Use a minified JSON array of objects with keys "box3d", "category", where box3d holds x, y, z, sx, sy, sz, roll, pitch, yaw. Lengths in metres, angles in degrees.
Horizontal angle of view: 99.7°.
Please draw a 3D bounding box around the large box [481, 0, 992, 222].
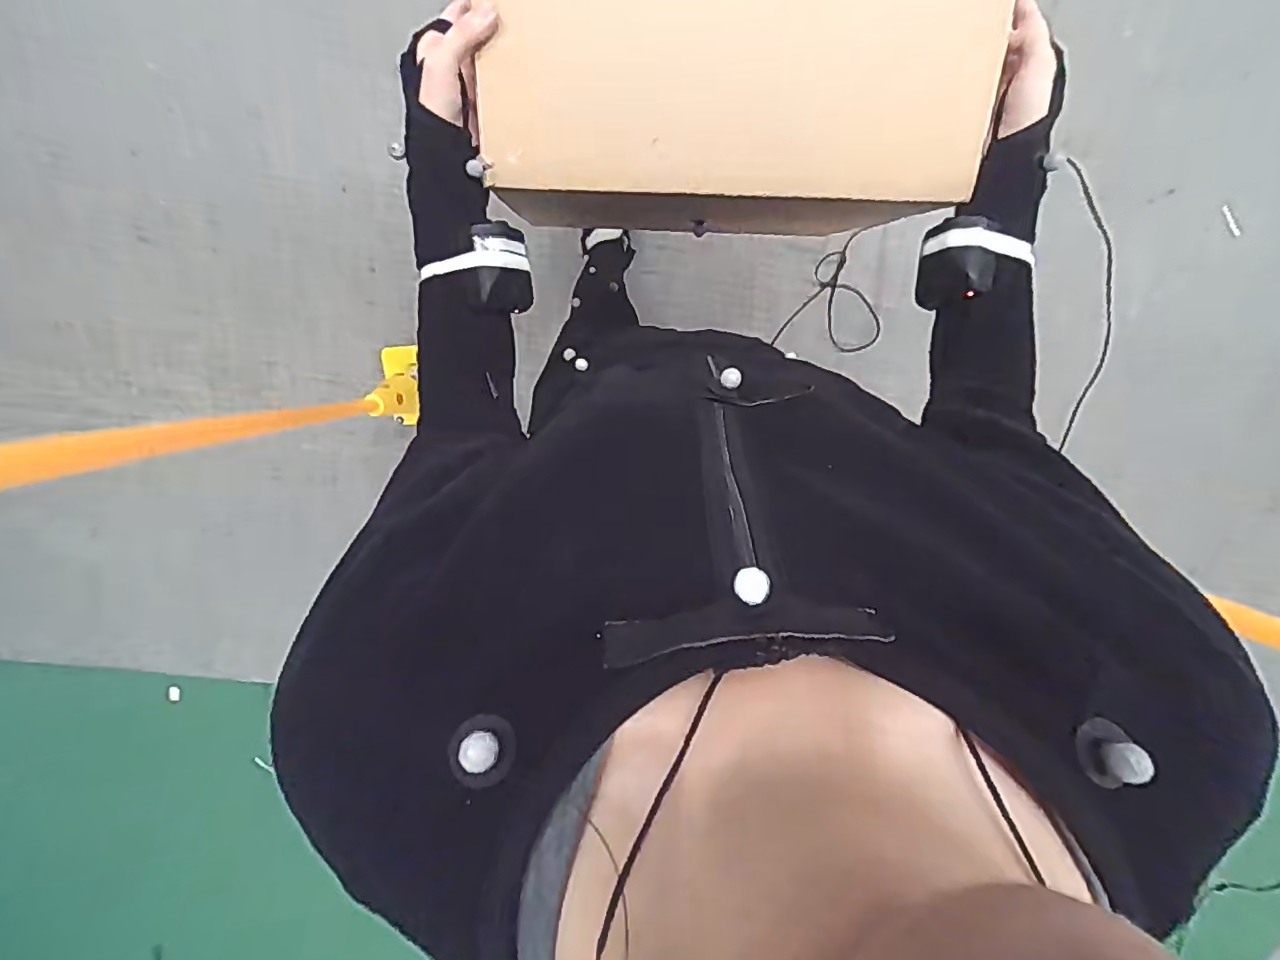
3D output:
[{"box3d":[0.072,-0.442,0.543,0.408,0.320,0.320,0,109,-3],"category":"large box"}]
